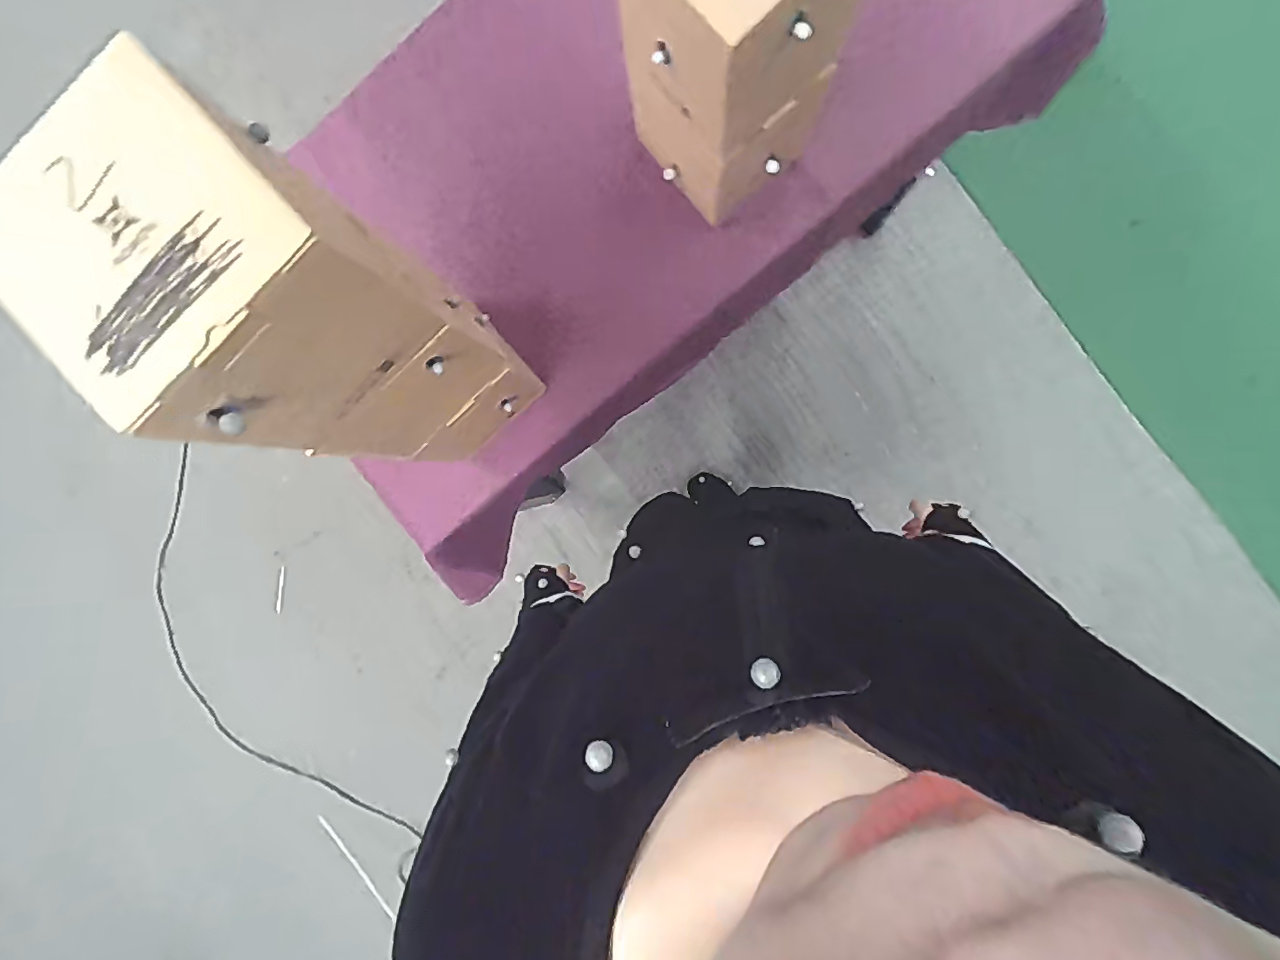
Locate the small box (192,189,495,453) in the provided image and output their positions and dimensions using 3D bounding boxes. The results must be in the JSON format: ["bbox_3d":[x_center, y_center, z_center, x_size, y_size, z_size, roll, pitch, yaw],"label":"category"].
[{"bbox_3d":[-0.282,-0.141,0.557,0.179,0.176,0.168,-43,88,3],"label":"small box"}]

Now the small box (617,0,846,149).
[{"bbox_3d":[0.087,-0.469,0.514,0.179,0.176,0.168,-40,88,5],"label":"small box"}]

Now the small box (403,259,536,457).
[{"bbox_3d":[-0.266,-0.148,0.719,0.168,0.176,0.179,-41,88,4],"label":"small box"}]

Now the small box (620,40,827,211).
[{"bbox_3d":[0.098,-0.474,0.679,0.168,0.176,0.179,-39,89,4],"label":"small box"}]
